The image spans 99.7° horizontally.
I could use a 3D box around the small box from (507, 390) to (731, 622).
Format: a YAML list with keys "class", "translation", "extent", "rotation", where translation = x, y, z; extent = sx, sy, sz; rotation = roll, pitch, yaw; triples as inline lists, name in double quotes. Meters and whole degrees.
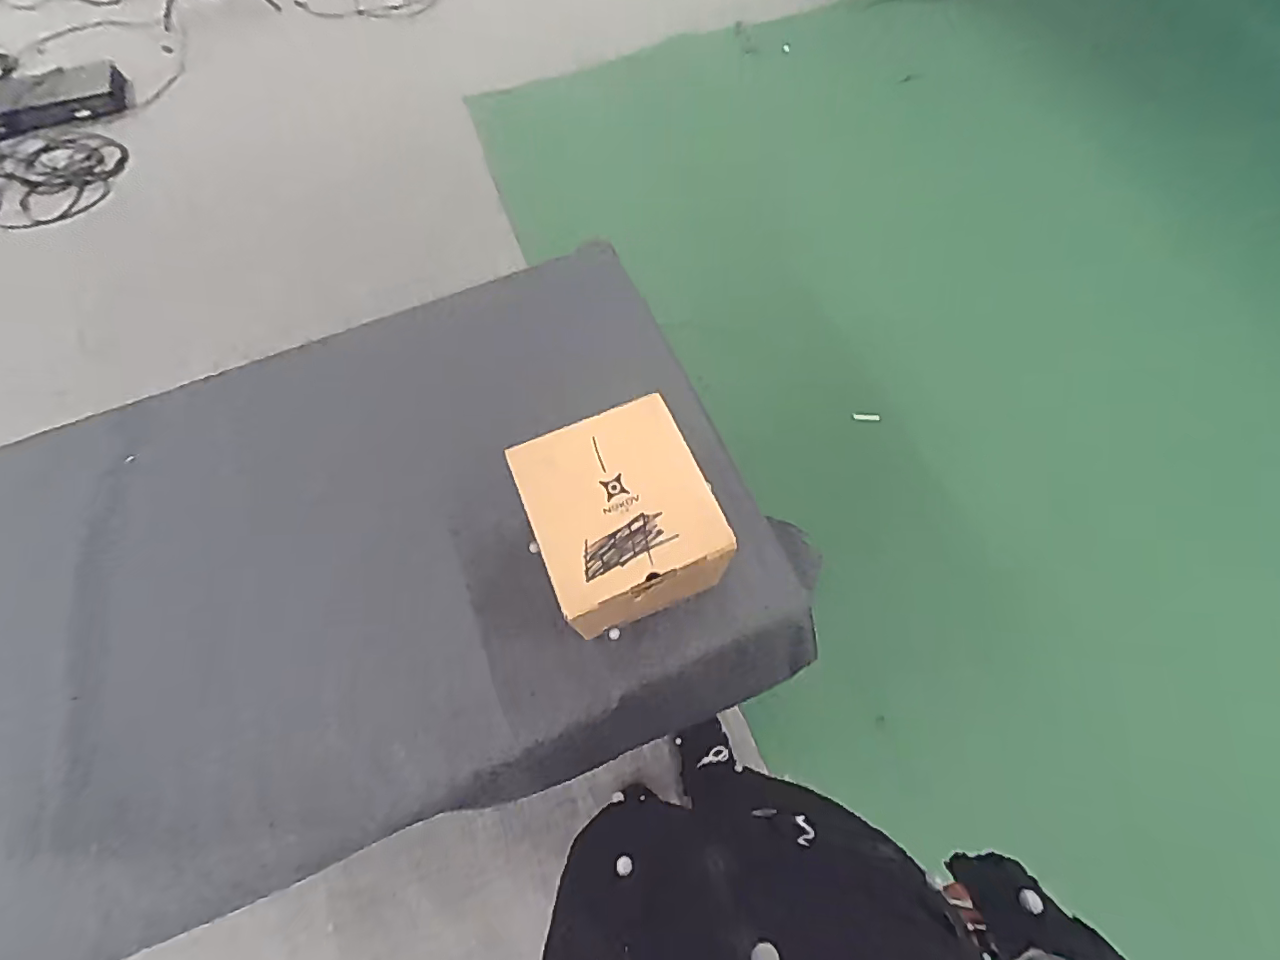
- class: "small box"
  translation: [-0.020, 0.041, 0.580]
  extent: [0.168, 0.176, 0.179]
  rotation: [-22, 68, -8]
